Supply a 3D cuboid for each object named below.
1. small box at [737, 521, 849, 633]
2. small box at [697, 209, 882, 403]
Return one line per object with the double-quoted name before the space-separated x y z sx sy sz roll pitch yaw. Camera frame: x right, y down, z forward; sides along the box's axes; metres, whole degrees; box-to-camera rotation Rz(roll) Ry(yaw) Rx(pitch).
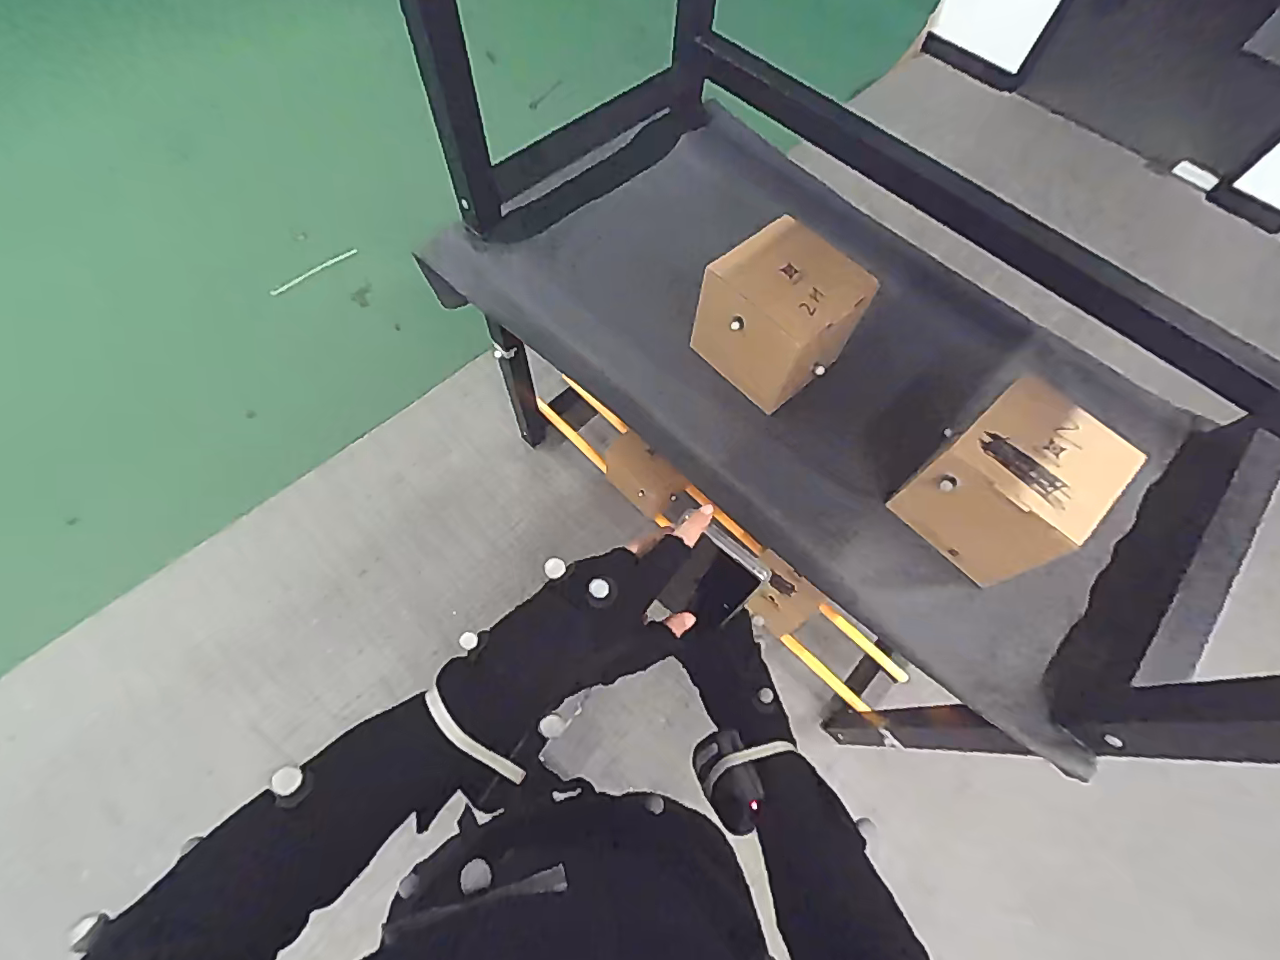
"small box" 0.345 0.233 1.262 0.179 0.176 0.168 -39 73 -18
"small box" 0.203 -0.246 0.790 0.168 0.176 0.179 -39 73 -18
